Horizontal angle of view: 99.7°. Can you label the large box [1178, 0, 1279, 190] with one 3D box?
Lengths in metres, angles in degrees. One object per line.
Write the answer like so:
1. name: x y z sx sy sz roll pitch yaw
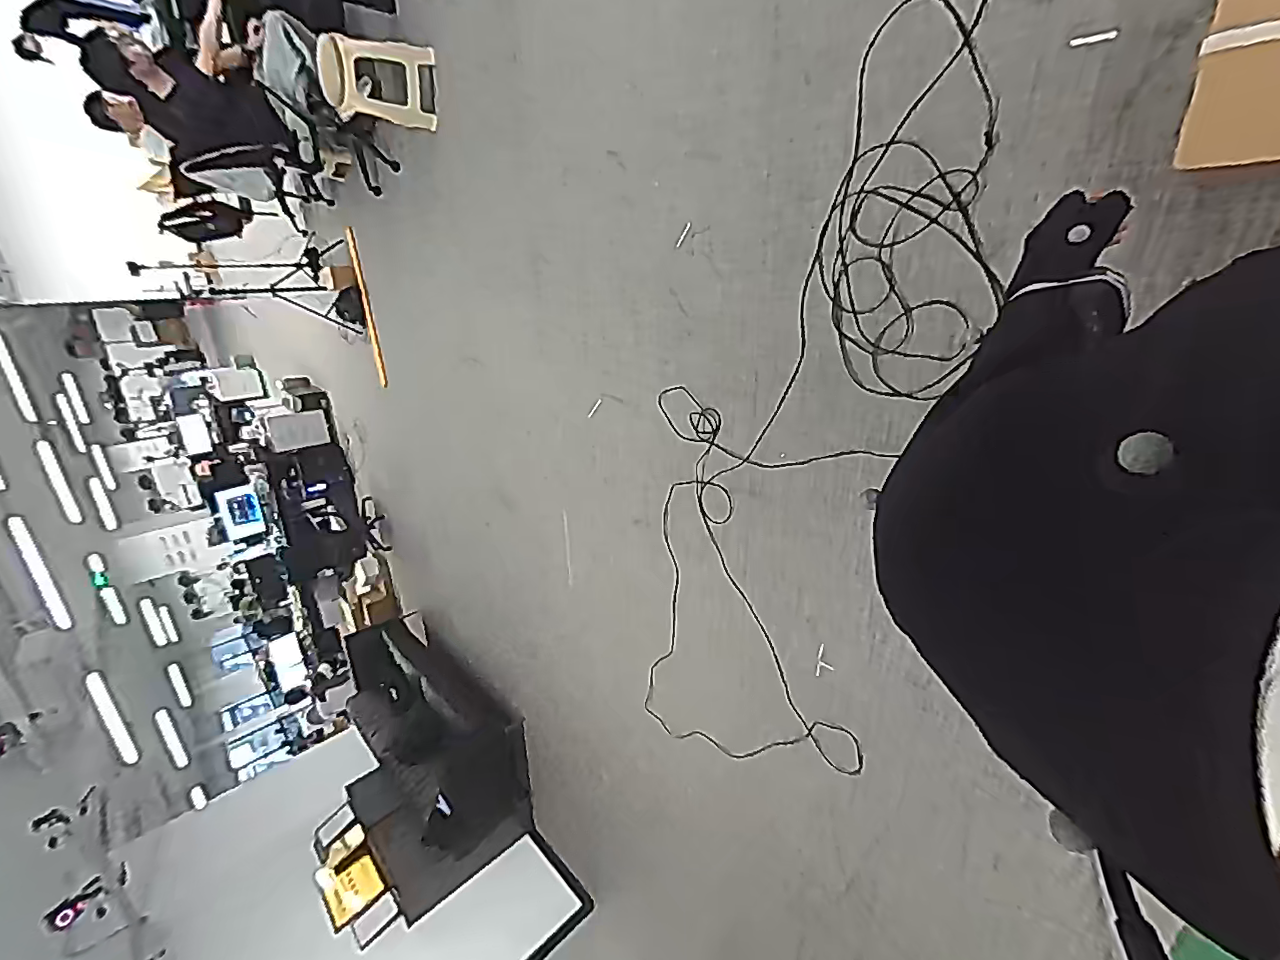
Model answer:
1. large box: 1.038 -0.599 0.718 0.408 0.320 0.320 19 119 42
